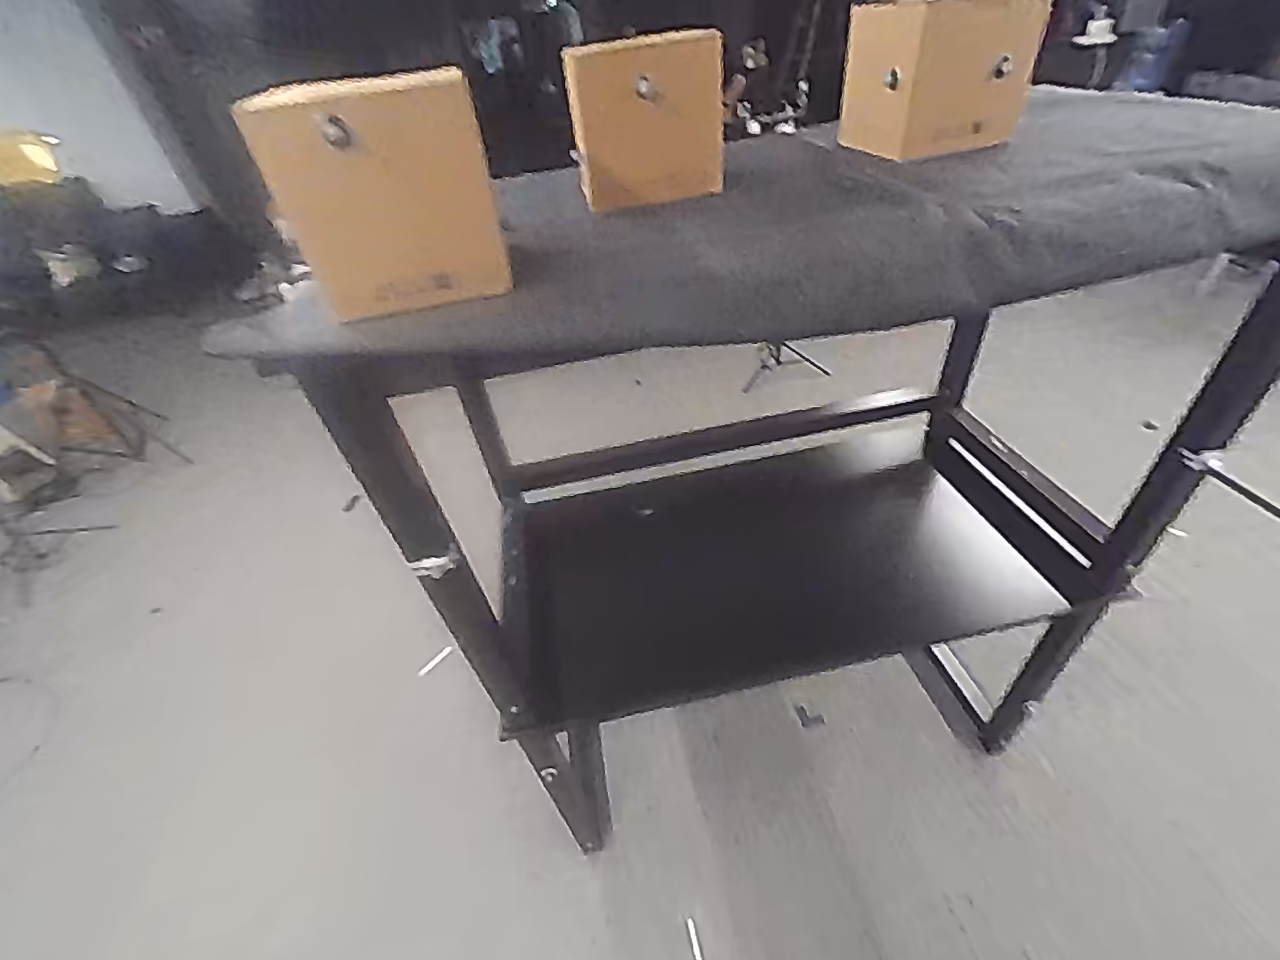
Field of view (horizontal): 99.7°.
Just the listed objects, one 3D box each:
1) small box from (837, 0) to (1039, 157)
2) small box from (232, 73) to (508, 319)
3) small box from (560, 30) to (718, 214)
[{"bbox_3d":[0.391,-0.555,0.737,0.168,0.176,0.179,-13,41,-5],"label":"small box"},{"bbox_3d":[-0.229,-0.272,0.516,0.168,0.176,0.179,-13,40,-6],"label":"small box"},{"bbox_3d":[-0.001,-0.472,0.714,0.179,0.176,0.168,-12,41,-3],"label":"small box"}]
